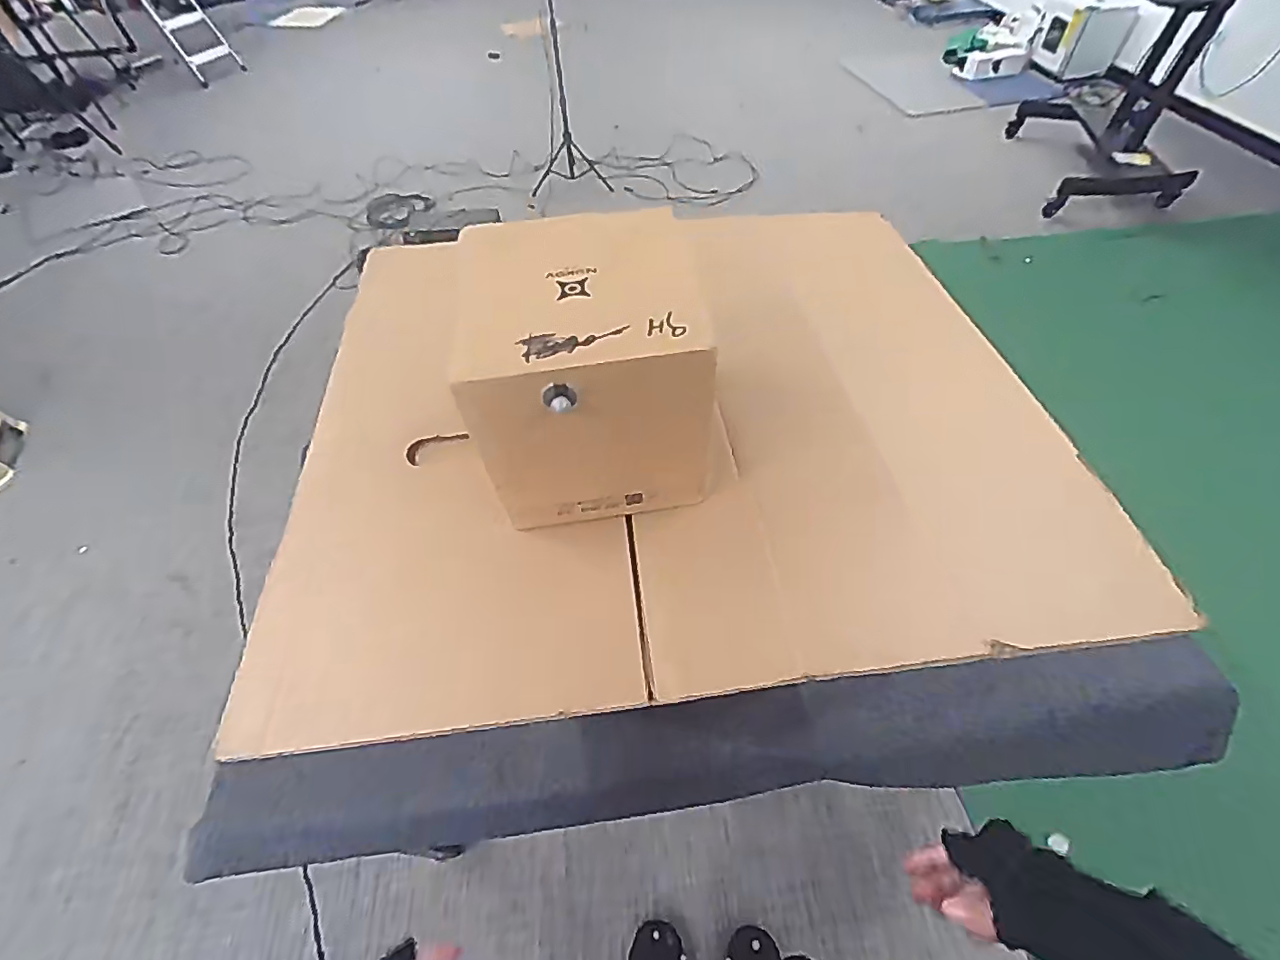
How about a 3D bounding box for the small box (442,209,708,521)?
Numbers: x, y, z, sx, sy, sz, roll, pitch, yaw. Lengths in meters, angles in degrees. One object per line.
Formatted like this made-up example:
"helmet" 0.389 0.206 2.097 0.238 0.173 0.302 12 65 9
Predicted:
"small box" -0.045 -0.090 0.441 0.168 0.176 0.179 -8 53 -2
